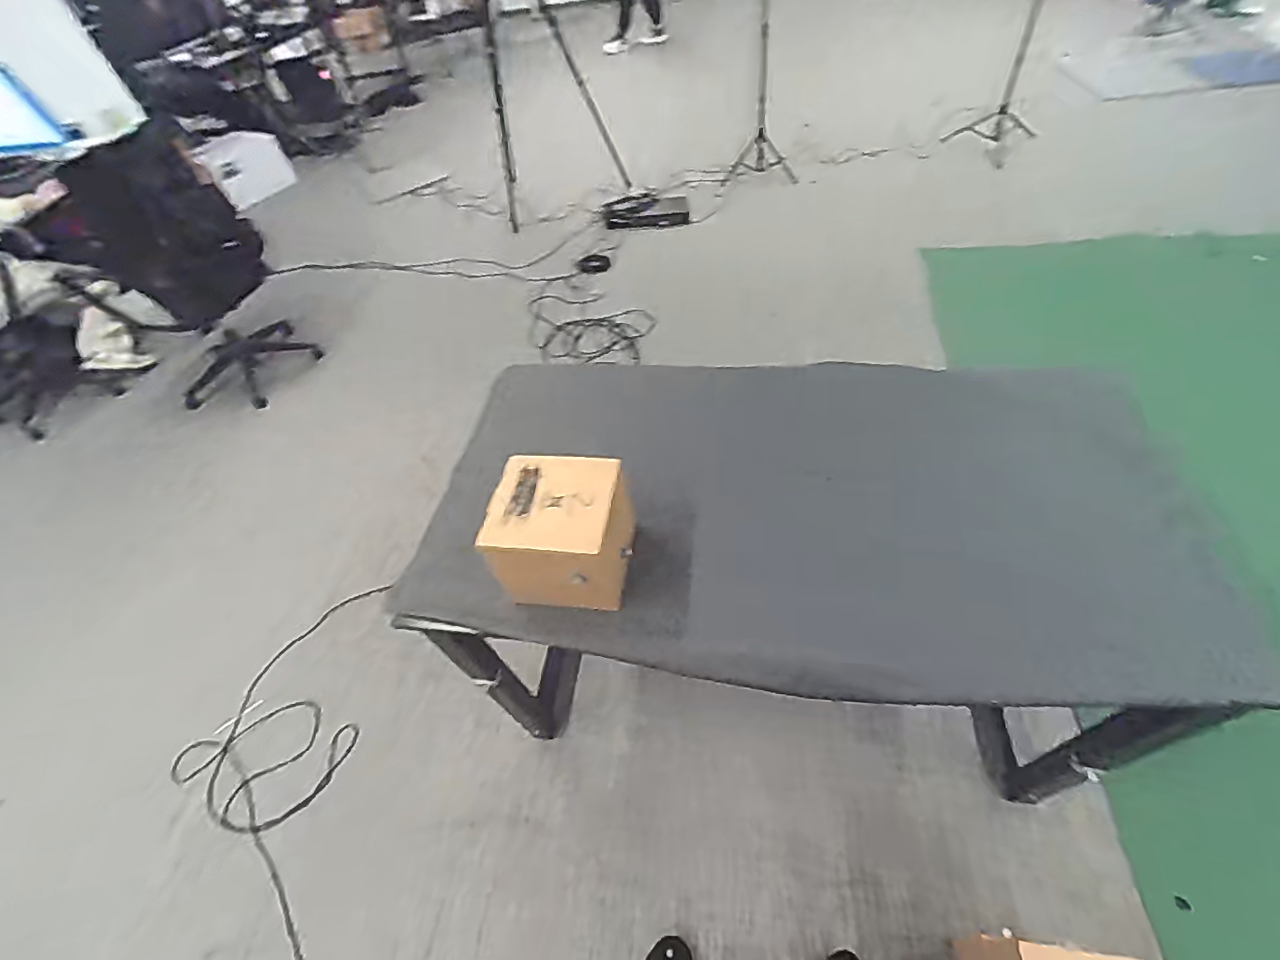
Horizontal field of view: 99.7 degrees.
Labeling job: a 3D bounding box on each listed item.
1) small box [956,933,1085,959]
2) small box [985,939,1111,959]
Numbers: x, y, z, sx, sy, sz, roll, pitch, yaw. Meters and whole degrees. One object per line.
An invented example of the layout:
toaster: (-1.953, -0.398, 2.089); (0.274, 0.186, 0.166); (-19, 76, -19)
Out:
small box: (0.681, 0.918, 0.945); (0.168, 0.176, 0.179); (0, 50, 10)
small box: (0.661, 0.816, 0.816); (0.179, 0.176, 0.168); (2, 53, 12)
